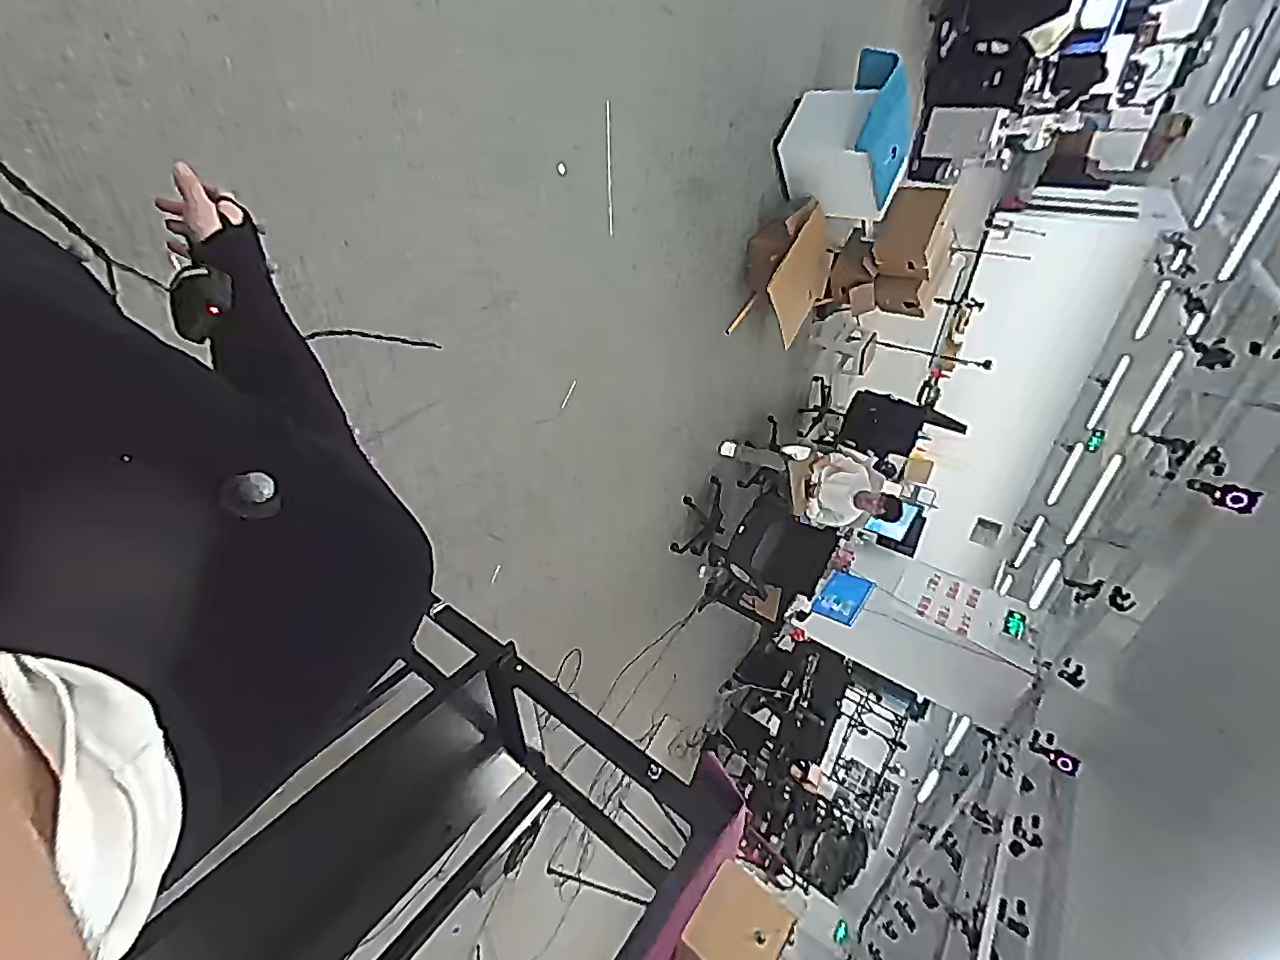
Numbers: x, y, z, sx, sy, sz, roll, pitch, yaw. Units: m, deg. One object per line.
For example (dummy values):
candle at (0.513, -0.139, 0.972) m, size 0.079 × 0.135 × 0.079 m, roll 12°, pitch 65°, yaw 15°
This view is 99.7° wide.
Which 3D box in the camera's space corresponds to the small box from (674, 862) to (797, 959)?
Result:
small box at (0.188, 0.925, 1.087) m, size 0.179 × 0.176 × 0.168 m, roll -35°, pitch 138°, yaw -41°
